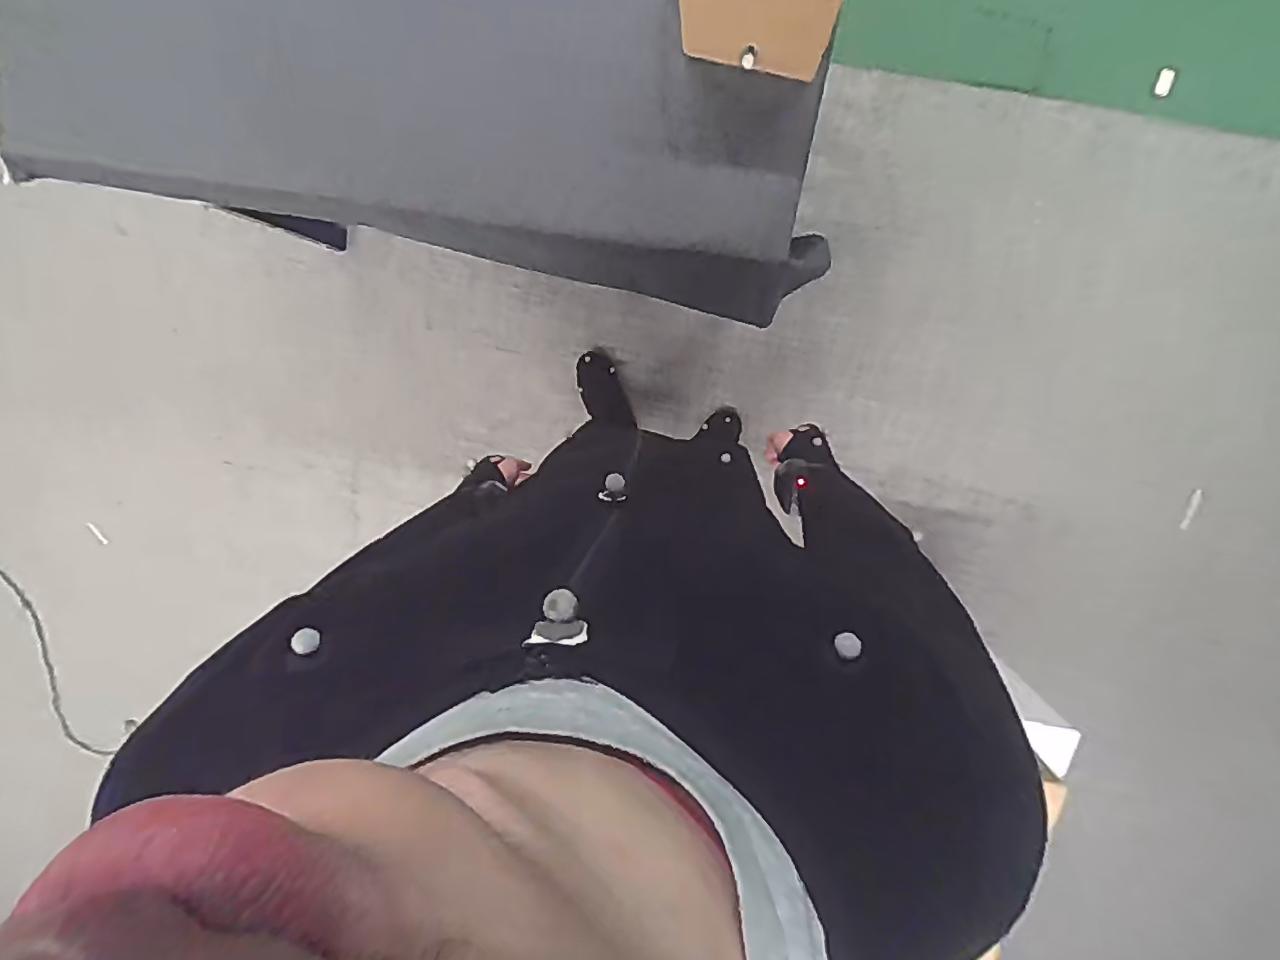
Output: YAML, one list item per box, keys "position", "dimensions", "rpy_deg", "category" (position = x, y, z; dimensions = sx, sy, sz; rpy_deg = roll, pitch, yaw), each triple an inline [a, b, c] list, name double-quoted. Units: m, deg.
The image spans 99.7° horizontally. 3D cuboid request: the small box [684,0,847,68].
- position: [0.153, -0.600, 0.598]
  dimensions: [0.179, 0.176, 0.168]
  rpy_deg: [15, 103, 2]
  category: "small box"
